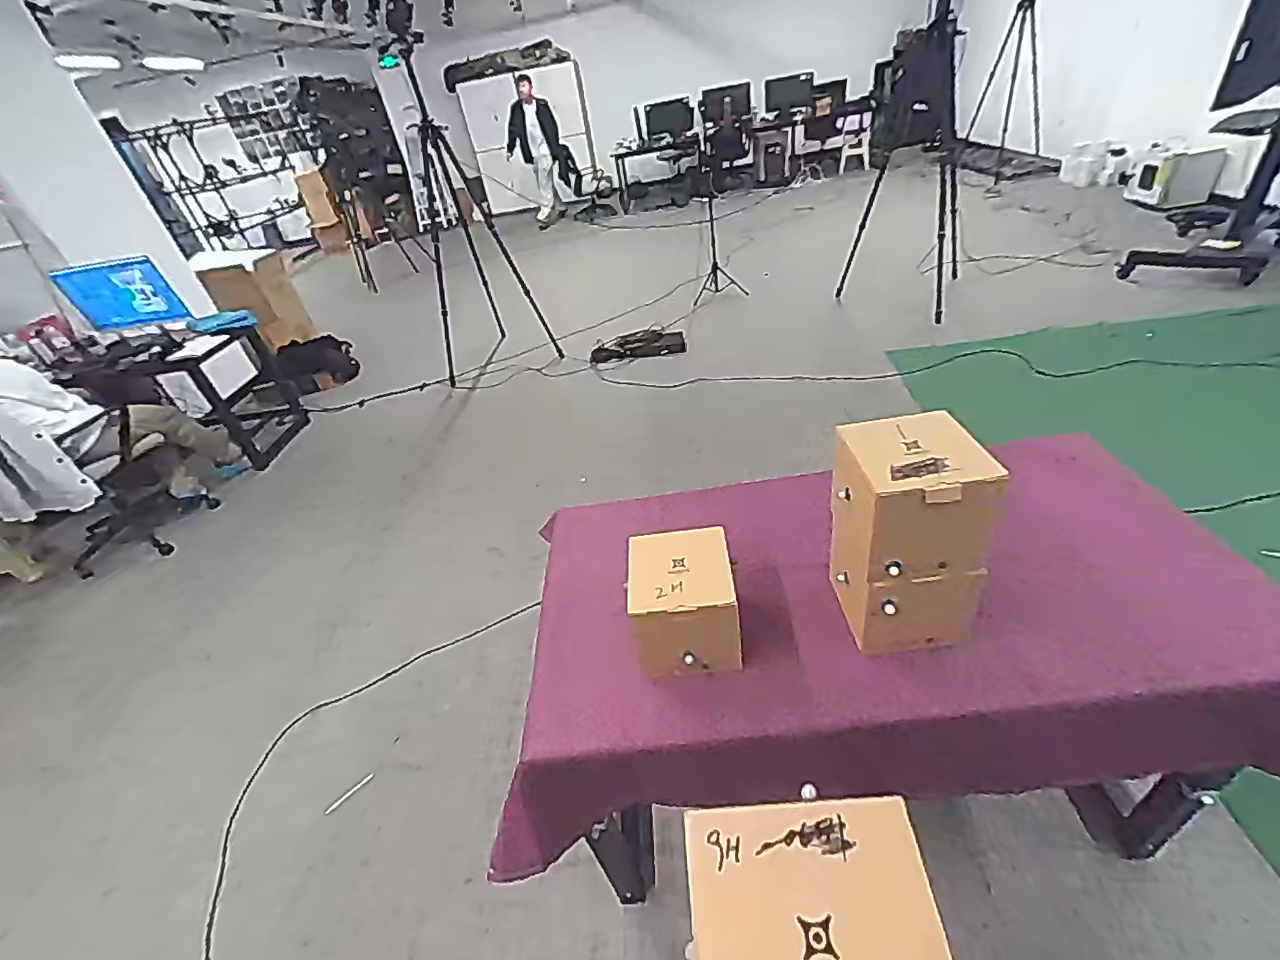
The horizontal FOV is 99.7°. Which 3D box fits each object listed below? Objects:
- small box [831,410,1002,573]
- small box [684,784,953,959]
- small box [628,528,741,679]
[{"bbox_3d":[0.389,0.021,0.796,0.168,0.176,0.179,-9,34,4],"label":"small box"},{"bbox_3d":[0.131,0.352,0.419,0.168,0.176,0.179,-8,51,5],"label":"small box"},{"bbox_3d":[0.075,0.207,0.915,0.168,0.176,0.179,-8,36,6],"label":"small box"}]
